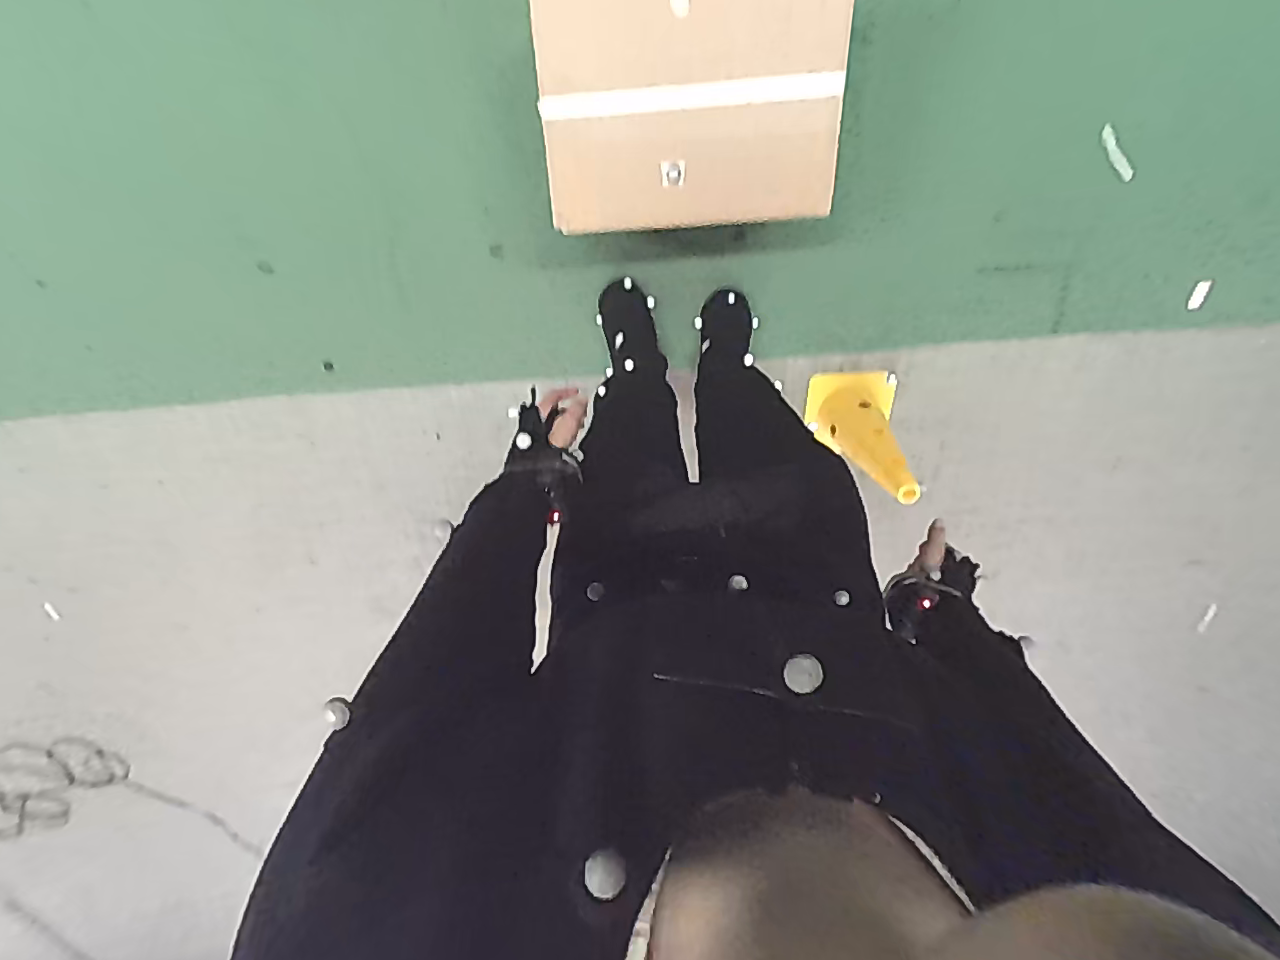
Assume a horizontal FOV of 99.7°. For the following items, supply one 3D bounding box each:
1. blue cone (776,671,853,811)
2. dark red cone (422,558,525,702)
[{"bbox_3d":[0.516,0.740,1.530,0.192,0.380,0.193,-3,119,3],"label":"blue cone"},{"bbox_3d":[-0.432,0.373,1.318,0.202,0.394,0.201,-10,115,7],"label":"dark red cone"}]
